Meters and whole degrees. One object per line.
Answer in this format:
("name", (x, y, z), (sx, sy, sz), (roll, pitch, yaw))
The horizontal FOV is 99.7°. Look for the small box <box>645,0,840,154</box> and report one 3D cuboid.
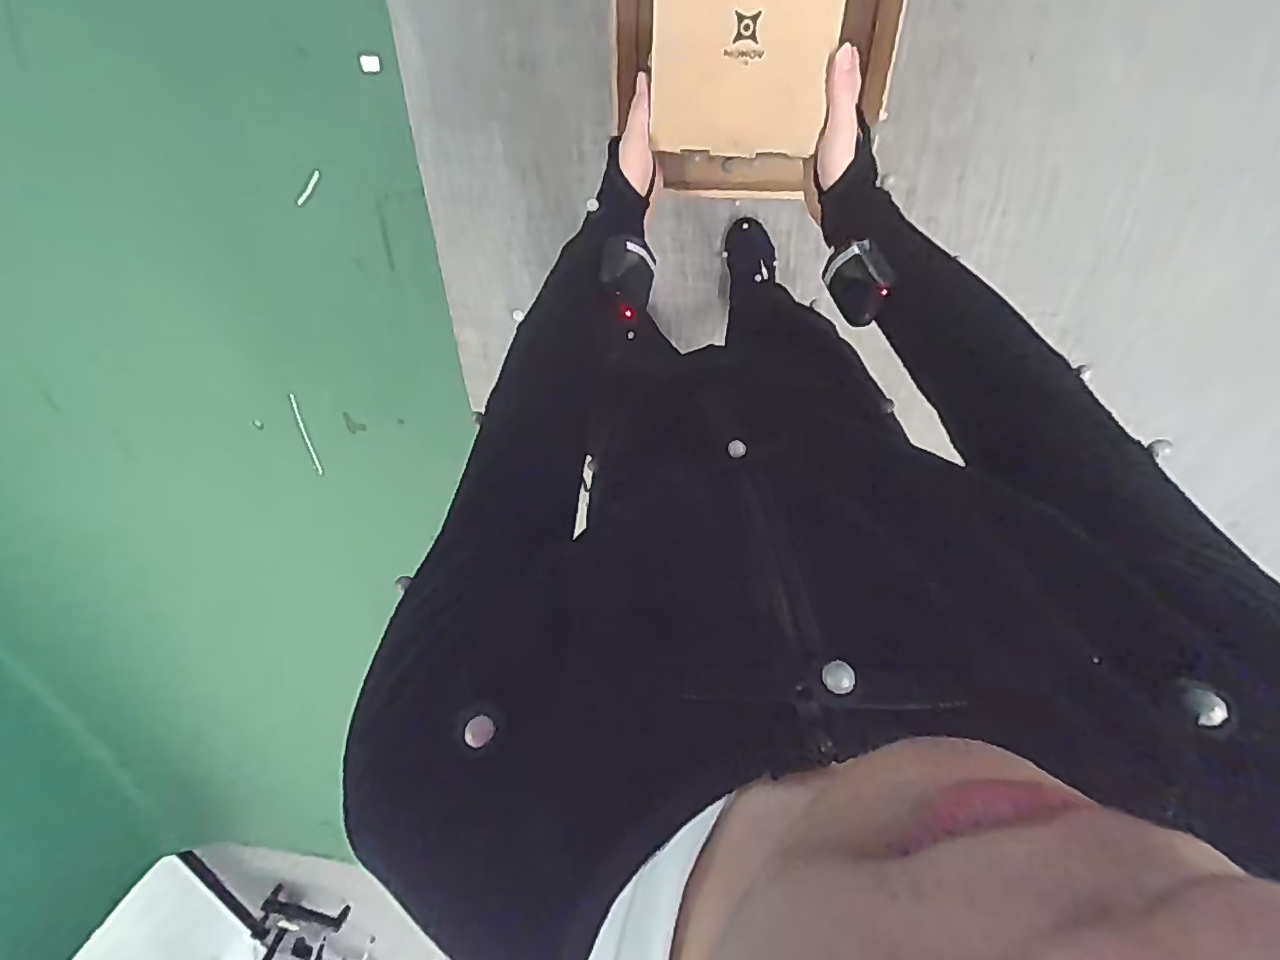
("small box", (0.099, -0.434, 0.543), (0.168, 0.176, 0.179), (5, 122, 5))
